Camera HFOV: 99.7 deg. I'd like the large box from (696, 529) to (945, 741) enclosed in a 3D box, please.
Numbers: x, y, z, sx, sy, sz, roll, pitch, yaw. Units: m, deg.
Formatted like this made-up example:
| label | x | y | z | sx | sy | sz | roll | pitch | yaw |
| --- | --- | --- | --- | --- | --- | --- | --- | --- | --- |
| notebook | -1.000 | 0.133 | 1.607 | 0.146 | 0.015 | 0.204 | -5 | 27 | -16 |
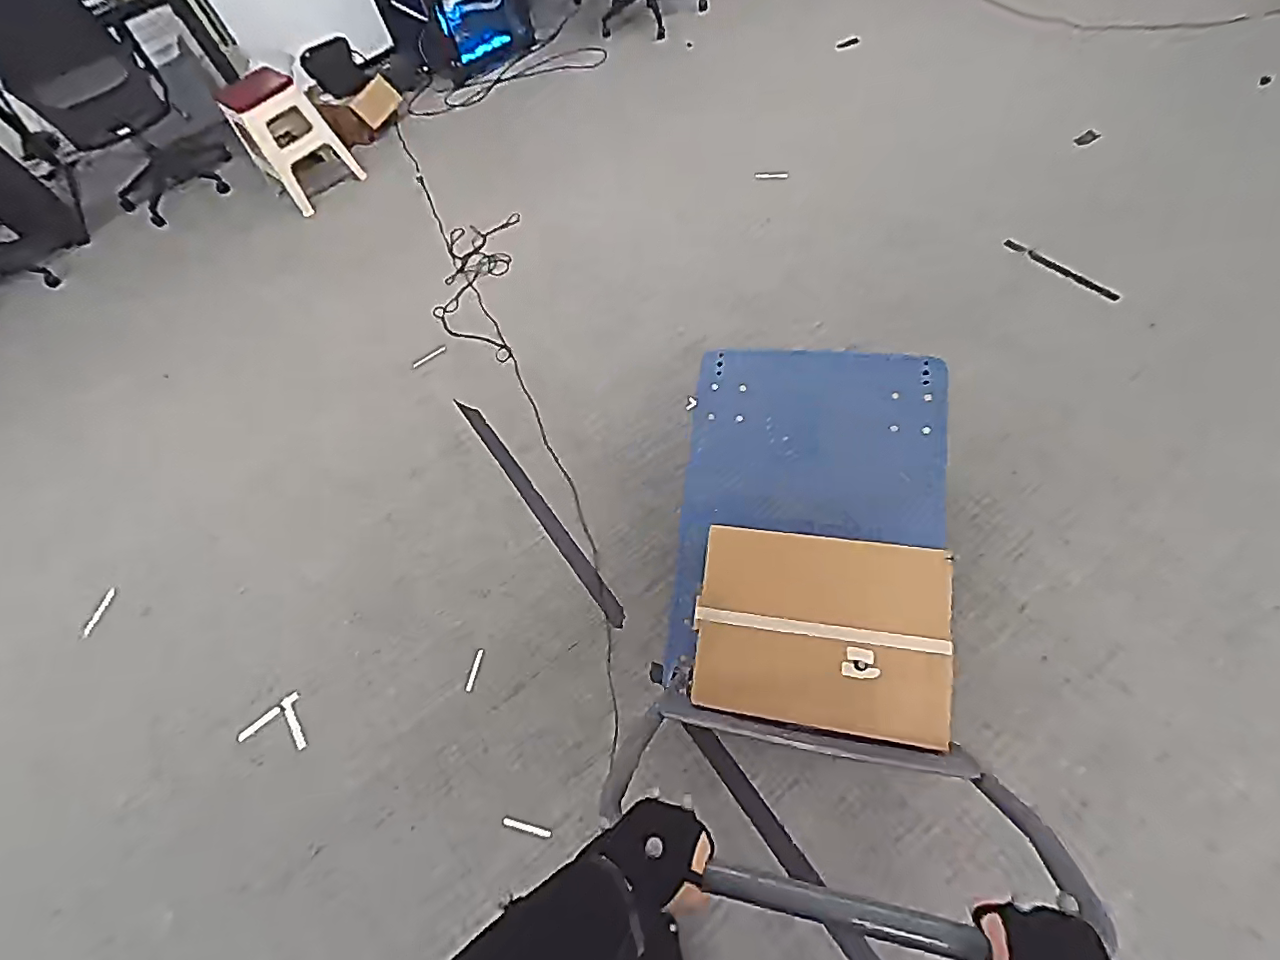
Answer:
| label | x | y | z | sx | sy | sz | roll | pitch | yaw |
| --- | --- | --- | --- | --- | --- | --- | --- | --- | --- |
| large box | 0.333 | 0.286 | 1.068 | 0.408 | 0.320 | 0.320 | 5 | 79 | 13 |
